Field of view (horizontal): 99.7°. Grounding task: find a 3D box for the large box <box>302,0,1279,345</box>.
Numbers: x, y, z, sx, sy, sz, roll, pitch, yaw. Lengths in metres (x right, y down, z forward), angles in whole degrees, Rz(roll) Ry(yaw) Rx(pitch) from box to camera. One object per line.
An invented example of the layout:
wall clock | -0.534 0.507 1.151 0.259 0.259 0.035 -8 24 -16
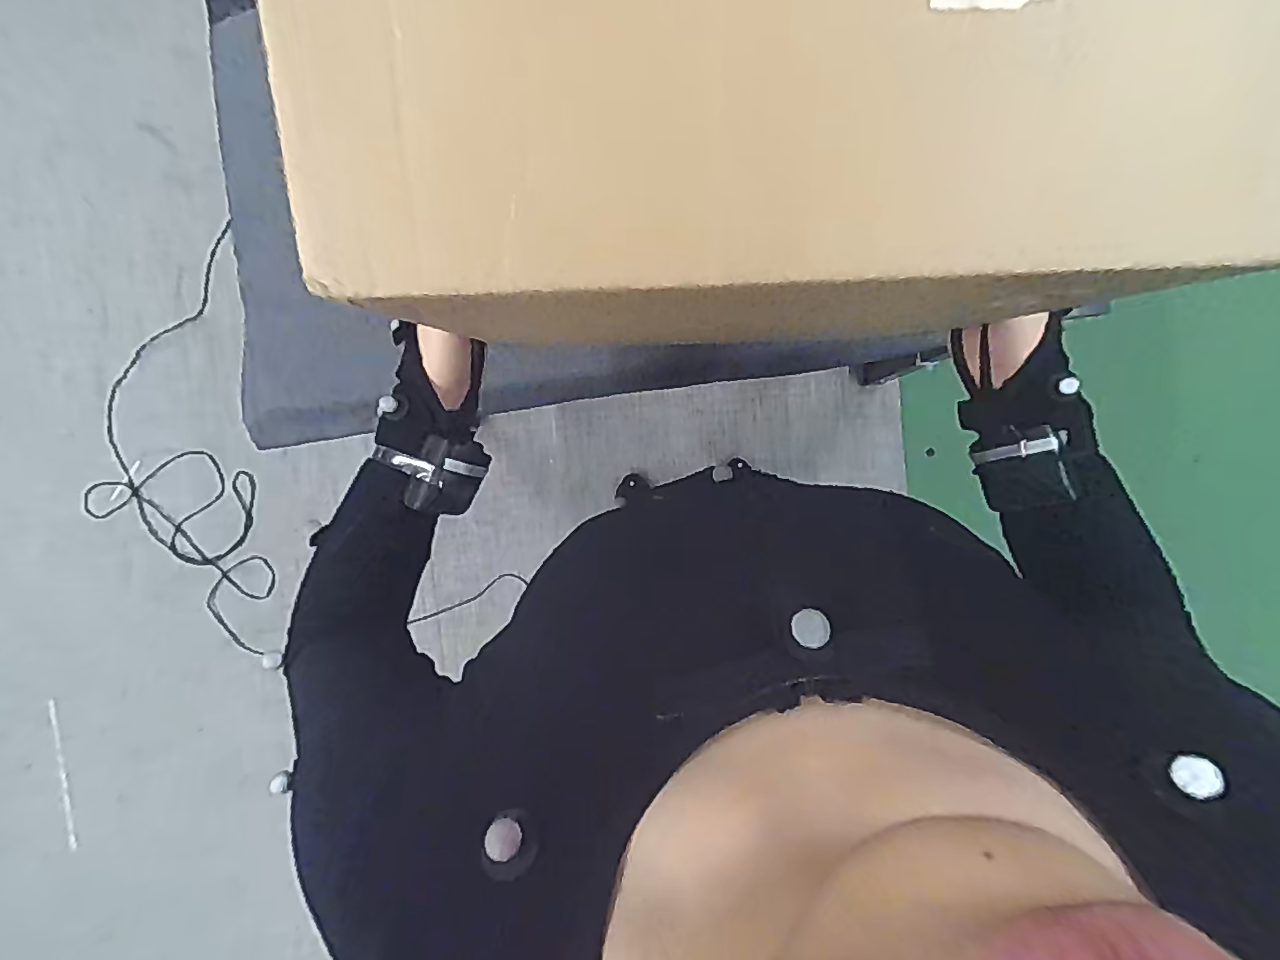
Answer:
large box | 0.061 -0.267 0.352 0.408 0.320 0.320 -2 101 1
